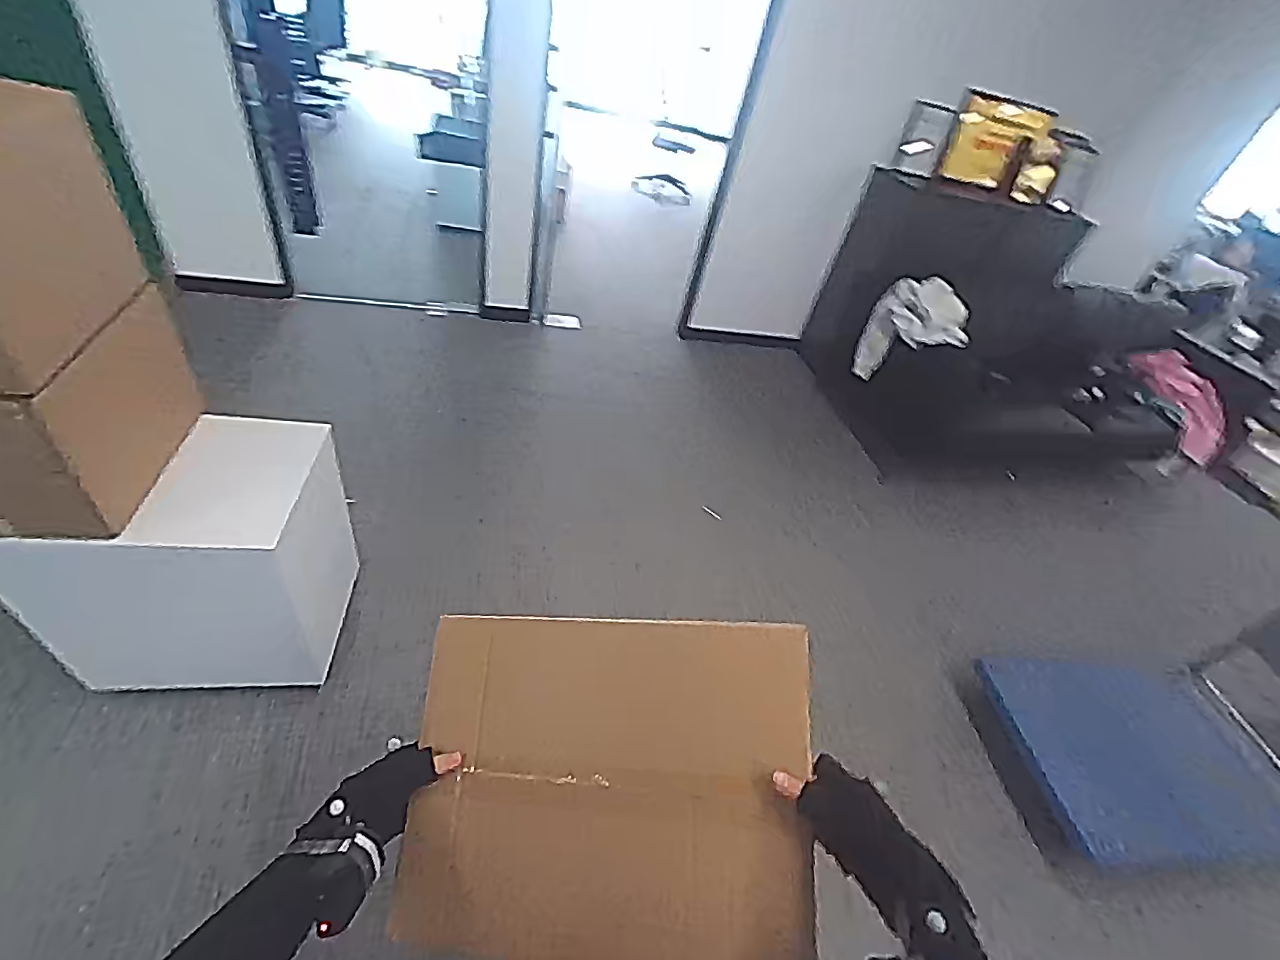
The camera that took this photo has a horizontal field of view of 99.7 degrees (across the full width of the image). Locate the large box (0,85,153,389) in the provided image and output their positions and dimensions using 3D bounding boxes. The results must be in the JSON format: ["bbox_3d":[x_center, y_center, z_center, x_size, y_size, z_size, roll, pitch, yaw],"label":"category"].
[{"bbox_3d":[-1.030,-0.368,0.790,0.320,0.320,0.408,1,42,-17],"label":"large box"}]
